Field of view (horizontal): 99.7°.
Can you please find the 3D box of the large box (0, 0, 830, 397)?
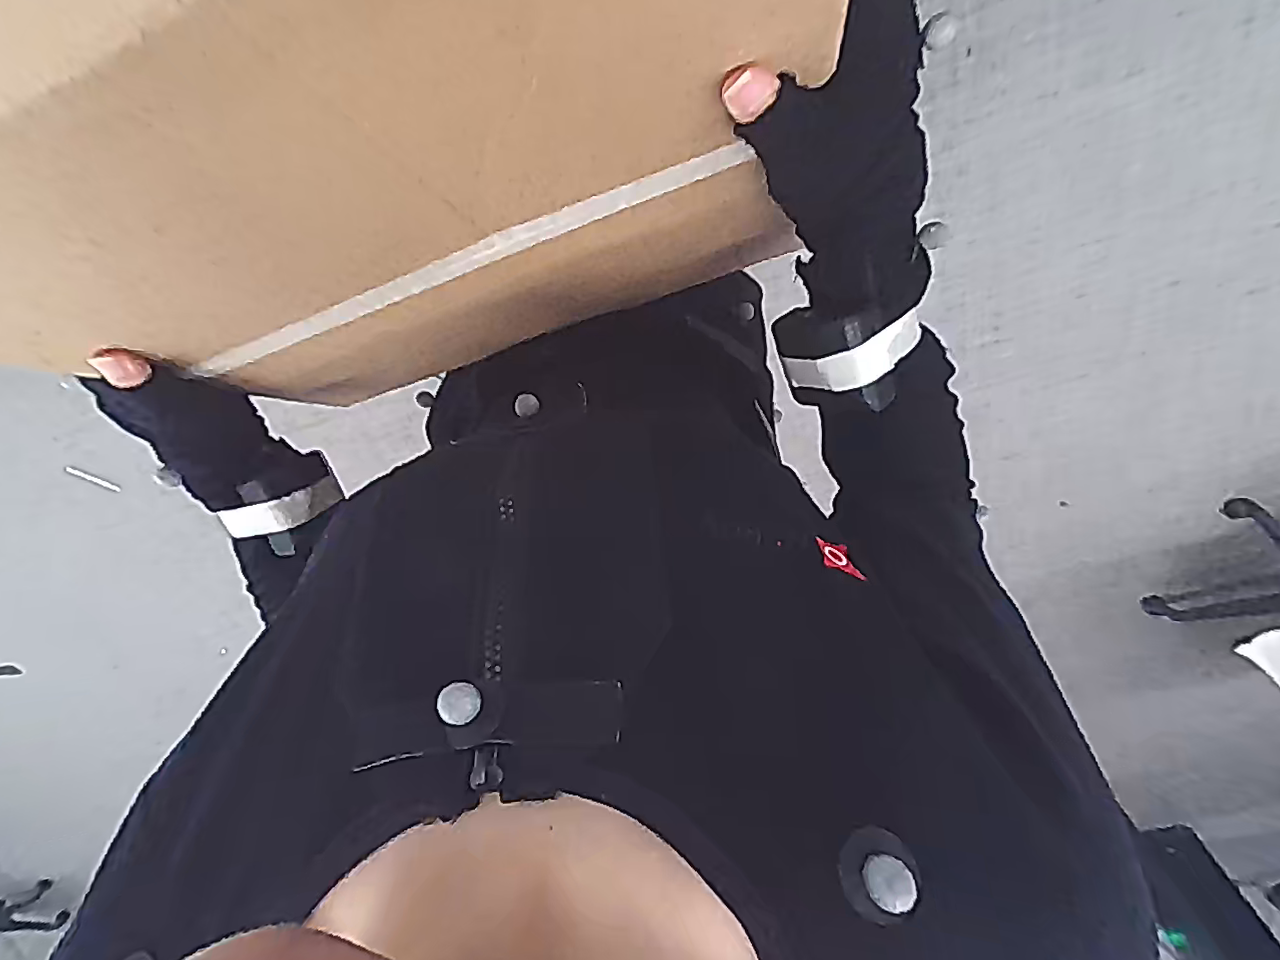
[{"bbox_3d":[-0.145,-0.268,0.297,0.408,0.320,0.320,-16,89,13],"label":"large box"}]
